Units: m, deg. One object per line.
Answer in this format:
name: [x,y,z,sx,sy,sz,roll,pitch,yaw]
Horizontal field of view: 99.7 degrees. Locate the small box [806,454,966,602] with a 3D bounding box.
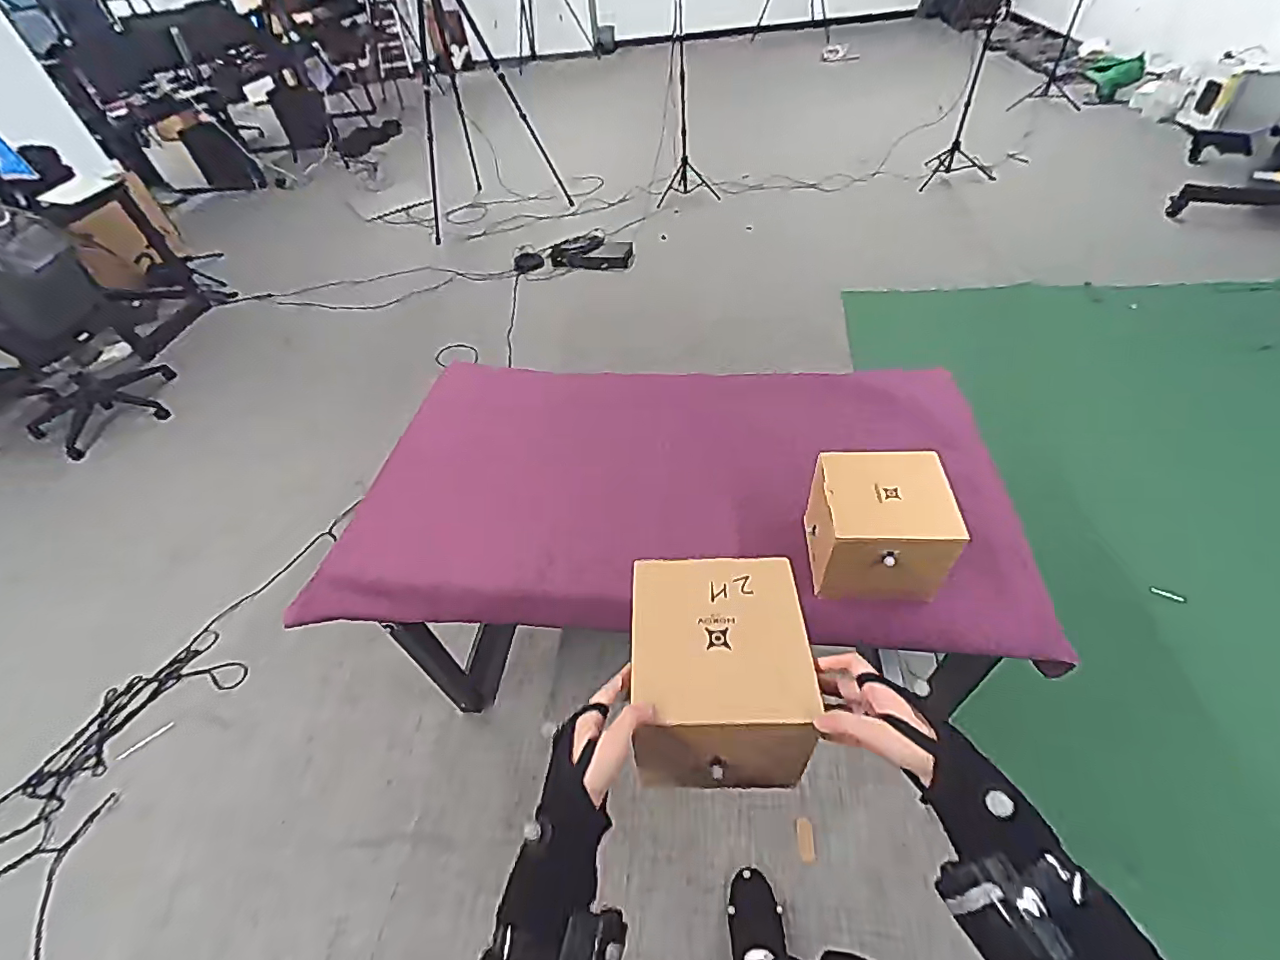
small box: [0.365,0.077,0.840,0.179,0.176,0.168,-1,48,8]
